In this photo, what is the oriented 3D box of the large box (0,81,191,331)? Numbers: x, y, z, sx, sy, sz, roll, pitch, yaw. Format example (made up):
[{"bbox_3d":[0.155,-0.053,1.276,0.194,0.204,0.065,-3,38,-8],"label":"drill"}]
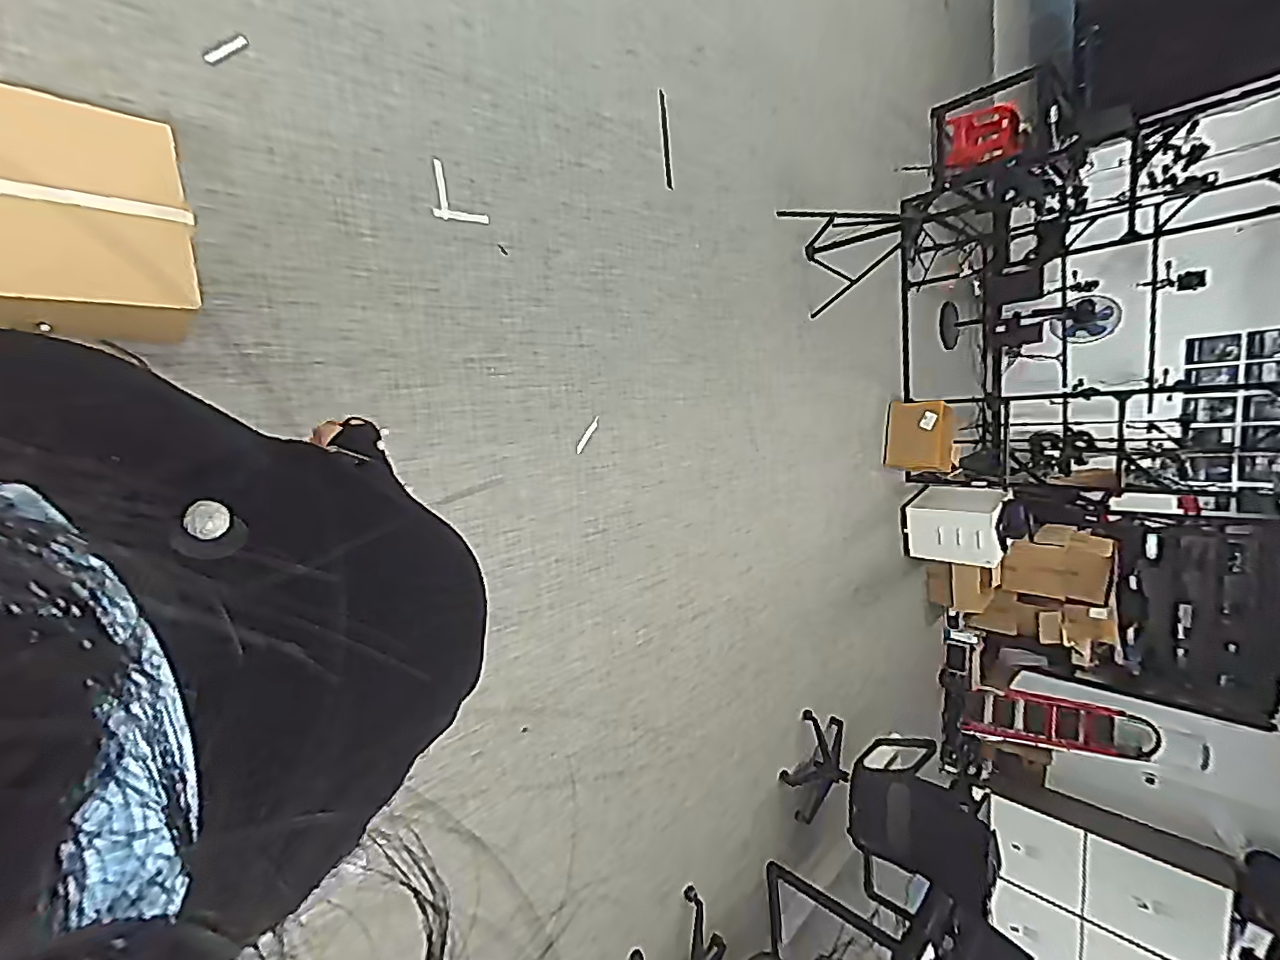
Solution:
[{"bbox_3d":[-1.047,-0.436,0.902,0.408,0.320,0.320,-11,97,-44],"label":"large box"}]
